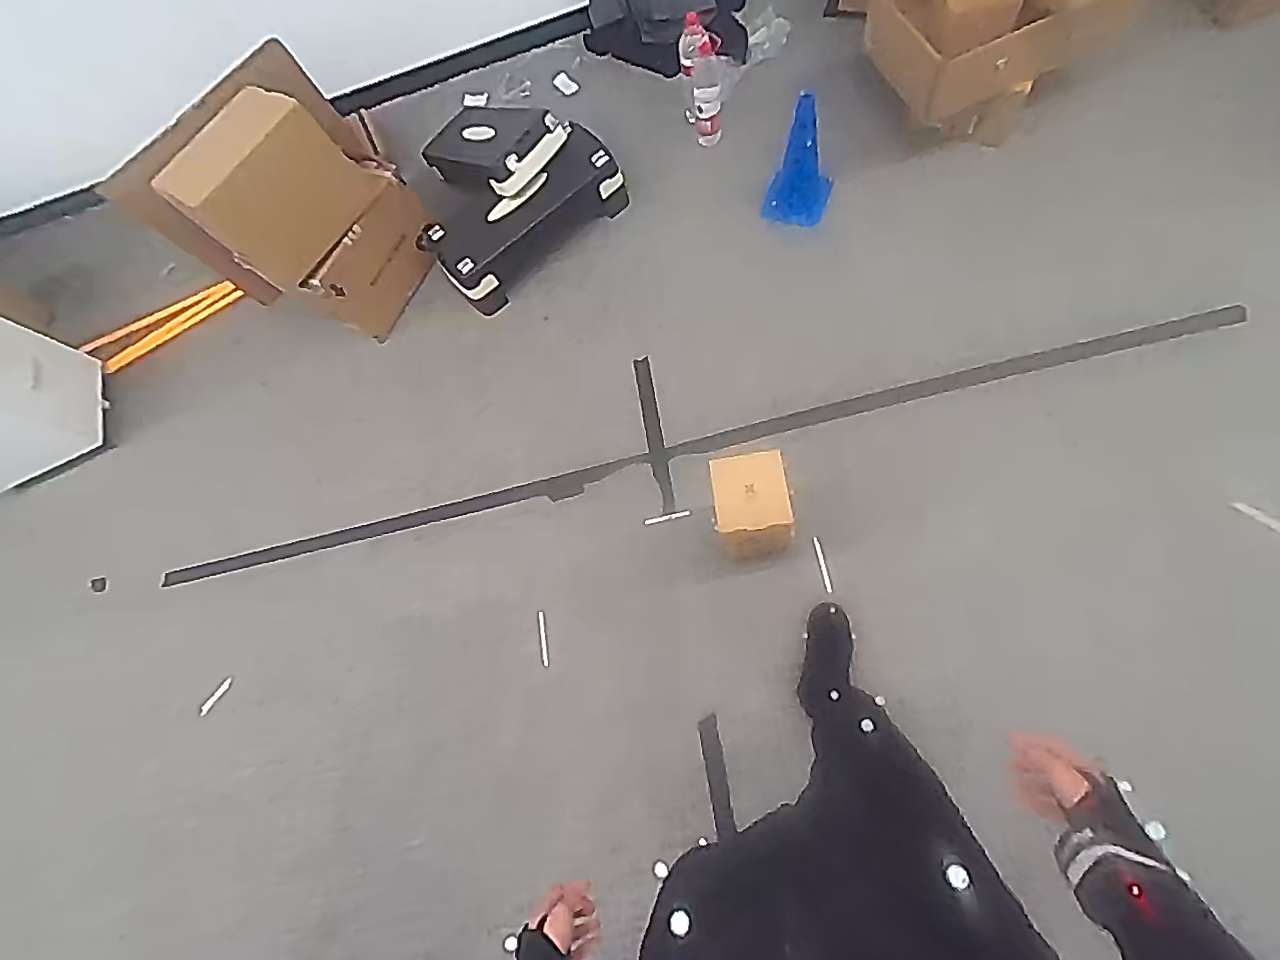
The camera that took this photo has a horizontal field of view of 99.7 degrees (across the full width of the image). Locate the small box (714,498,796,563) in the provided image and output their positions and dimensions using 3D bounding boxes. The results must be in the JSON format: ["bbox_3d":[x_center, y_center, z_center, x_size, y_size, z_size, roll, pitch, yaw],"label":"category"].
[{"bbox_3d":[0.302,0.115,1.436,0.179,0.176,0.168,-14,71,8],"label":"small box"}]

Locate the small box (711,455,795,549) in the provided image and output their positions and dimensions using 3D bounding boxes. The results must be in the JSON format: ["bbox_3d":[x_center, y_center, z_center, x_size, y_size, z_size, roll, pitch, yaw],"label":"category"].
[{"bbox_3d":[0.264,0.058,1.288,0.168,0.176,0.179,-9,72,9],"label":"small box"}]
